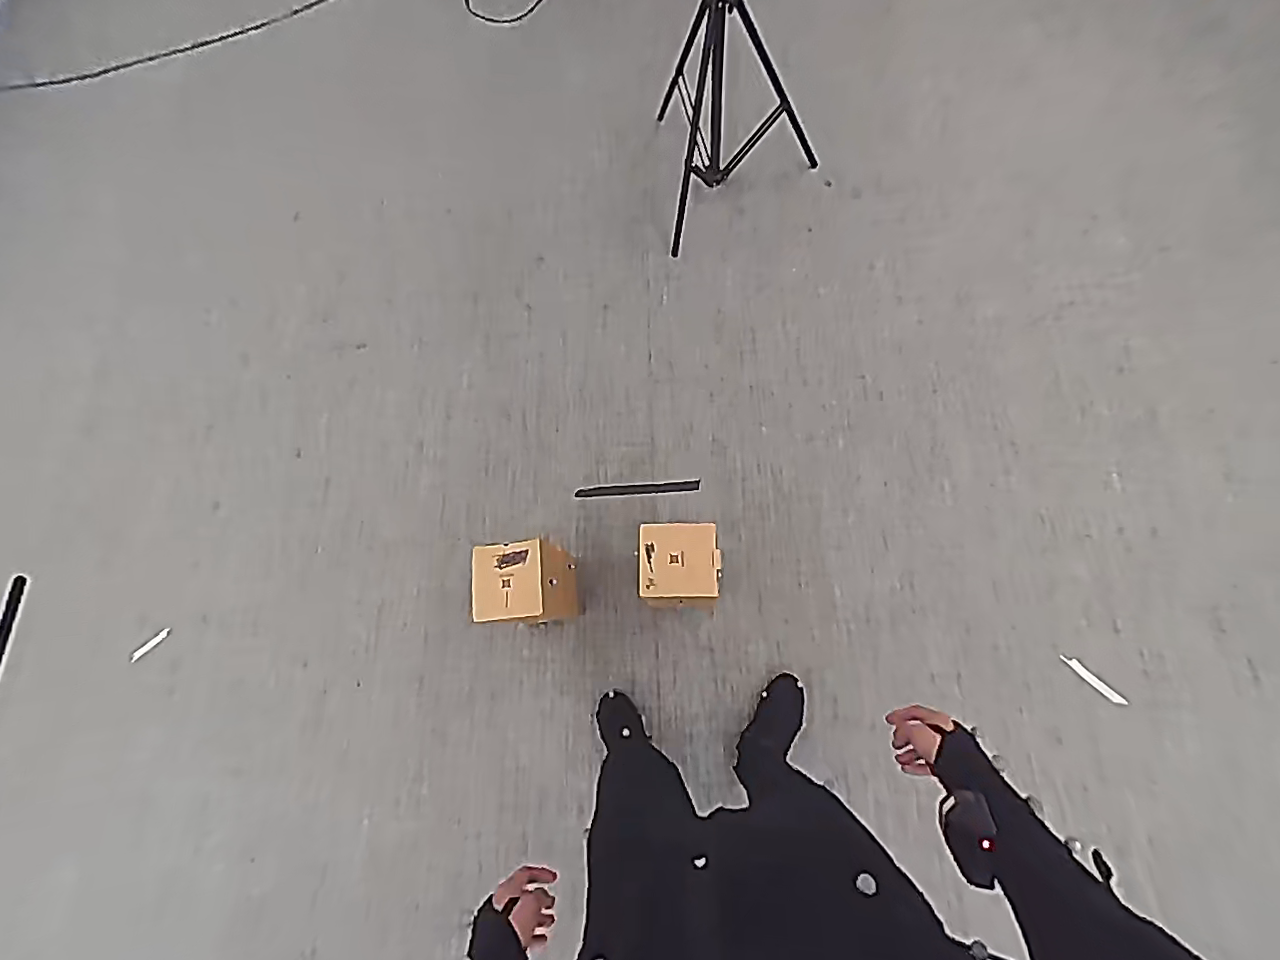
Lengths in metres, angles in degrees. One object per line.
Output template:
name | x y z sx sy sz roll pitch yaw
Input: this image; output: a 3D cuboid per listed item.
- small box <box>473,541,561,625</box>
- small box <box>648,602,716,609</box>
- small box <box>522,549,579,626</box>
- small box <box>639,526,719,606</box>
small box | -0.293 0.254 1.312 0.168 0.176 0.179 -7 73 5
small box | 0.111 0.254 1.436 0.179 0.176 0.168 -1 74 6
small box | -0.266 0.296 1.468 0.168 0.176 0.179 -9 73 5
small box | 0.093 0.206 1.280 0.179 0.176 0.168 0 73 6
